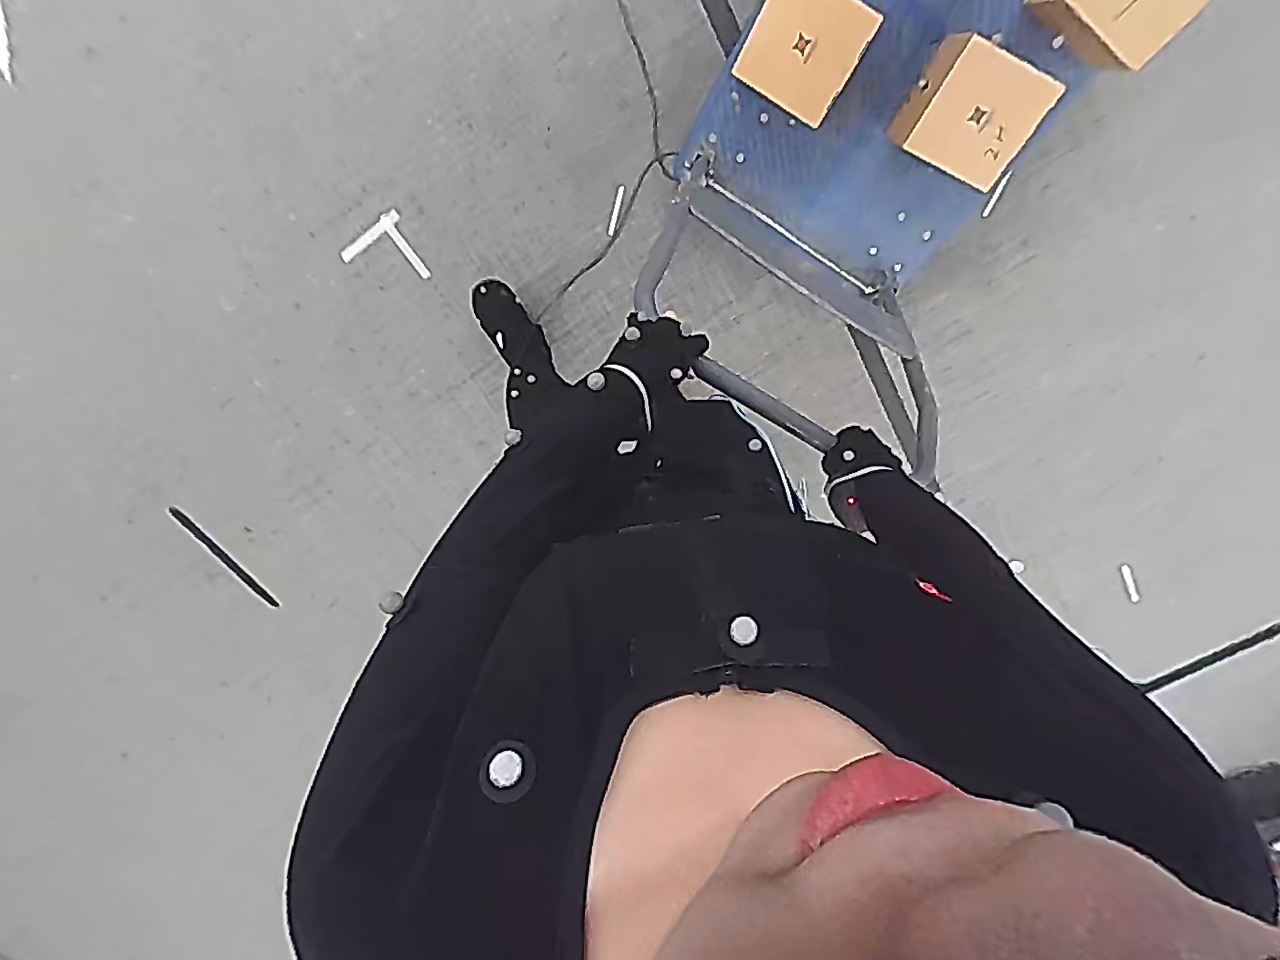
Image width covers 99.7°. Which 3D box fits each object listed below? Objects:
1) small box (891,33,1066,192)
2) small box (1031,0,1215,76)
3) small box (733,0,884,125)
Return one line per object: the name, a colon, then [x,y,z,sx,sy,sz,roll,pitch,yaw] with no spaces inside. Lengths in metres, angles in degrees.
small box: [0.570,-0.638,0.942,0.179,0.176,0.168,24,130,-7]
small box: [0.742,-0.754,0.809,0.168,0.176,0.179,32,129,-13]
small box: [0.276,-0.745,0.923,0.179,0.176,0.168,26,129,-11]
